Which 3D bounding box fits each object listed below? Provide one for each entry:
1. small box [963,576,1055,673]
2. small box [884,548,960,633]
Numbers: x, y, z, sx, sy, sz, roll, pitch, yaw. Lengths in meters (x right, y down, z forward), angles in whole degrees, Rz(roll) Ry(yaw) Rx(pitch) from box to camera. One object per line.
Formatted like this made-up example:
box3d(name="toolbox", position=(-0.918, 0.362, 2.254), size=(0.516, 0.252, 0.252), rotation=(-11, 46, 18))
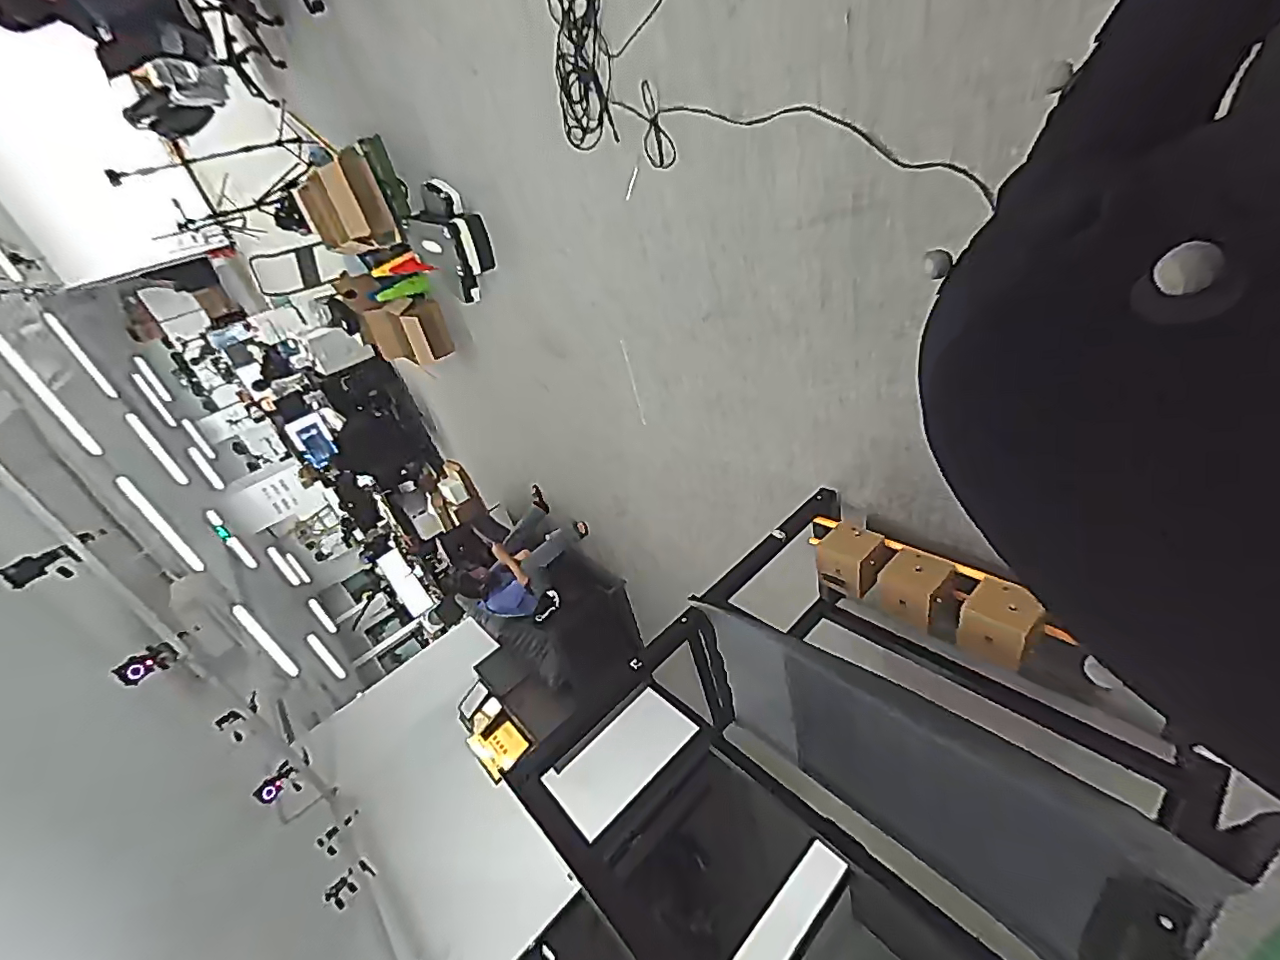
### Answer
box3d(name="small box", position=(1.061, 0.407, 1.556), size=(0.168, 0.176, 0.179), rotation=(24, 138, 46))
box3d(name="small box", position=(0.904, 0.346, 1.734), size=(0.168, 0.176, 0.179), rotation=(20, 136, 46))
